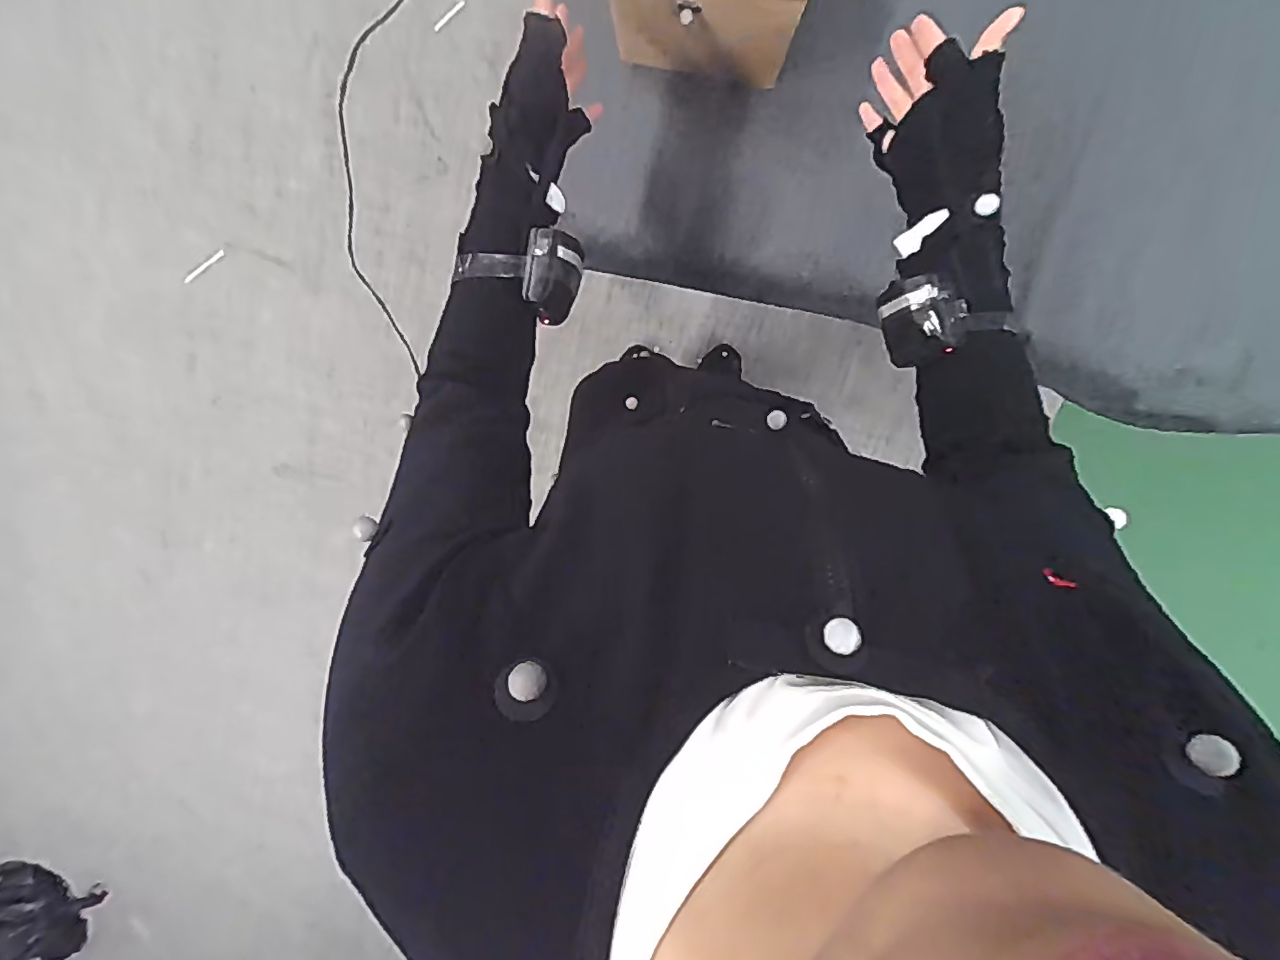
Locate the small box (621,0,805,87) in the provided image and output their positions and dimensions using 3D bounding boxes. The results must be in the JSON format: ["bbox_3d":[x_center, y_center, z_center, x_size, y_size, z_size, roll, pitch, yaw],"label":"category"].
[{"bbox_3d":[0.078,-0.513,0.516,0.179,0.176,0.168,11,105,1],"label":"small box"}]
